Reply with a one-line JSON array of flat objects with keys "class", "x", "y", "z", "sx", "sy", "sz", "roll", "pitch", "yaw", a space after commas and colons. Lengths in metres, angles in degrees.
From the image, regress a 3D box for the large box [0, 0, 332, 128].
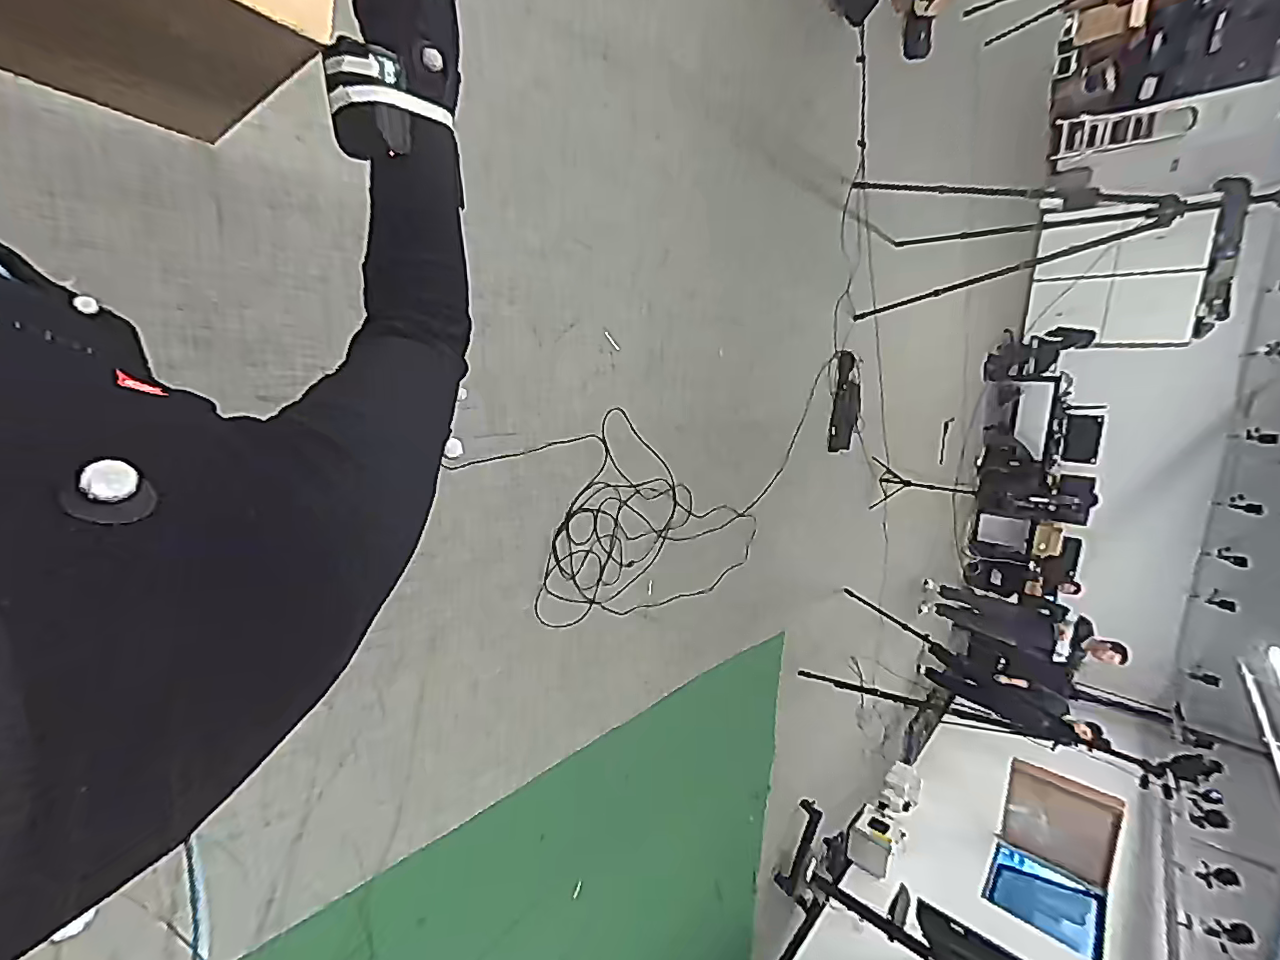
[{"class": "large box", "x": -0.429, "y": -0.460, "z": 0.278, "sx": 0.408, "sy": 0.320, "sz": 0.320, "roll": -3, "pitch": 104, "yaw": -49}]
